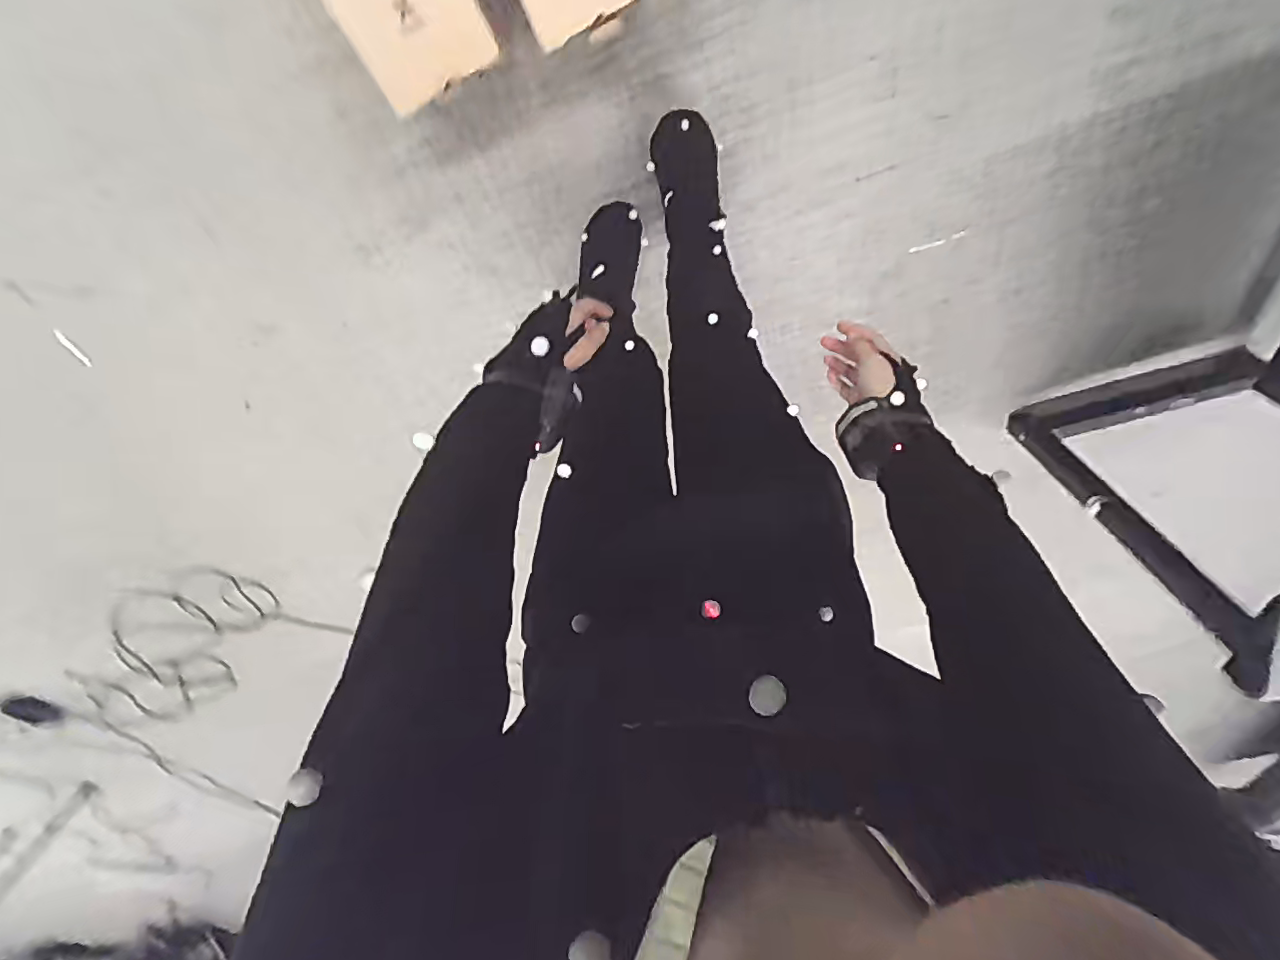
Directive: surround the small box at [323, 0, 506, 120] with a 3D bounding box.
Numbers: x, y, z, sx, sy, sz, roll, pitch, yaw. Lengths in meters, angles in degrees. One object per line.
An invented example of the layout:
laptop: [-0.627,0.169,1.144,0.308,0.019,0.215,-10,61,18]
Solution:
small box: [-0.299,-0.633,0.733,0.168,0.176,0.179,-23,129,12]
